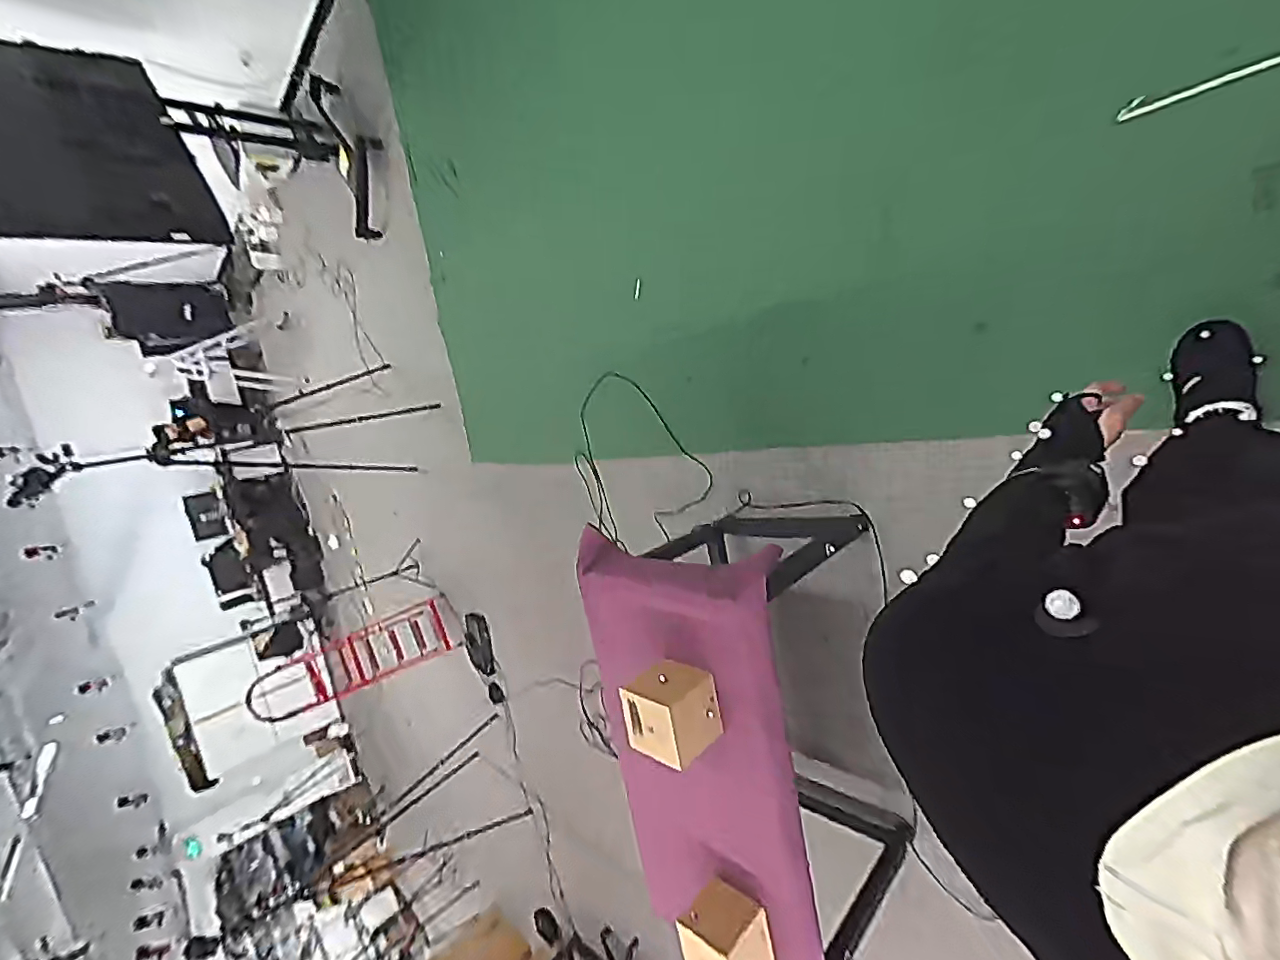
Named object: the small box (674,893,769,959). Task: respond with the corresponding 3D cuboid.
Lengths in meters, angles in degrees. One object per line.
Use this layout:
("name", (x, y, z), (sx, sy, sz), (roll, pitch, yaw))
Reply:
("small box", (0.217, 1.220, 1.386), (0.179, 0.176, 0.168), (-5, 99, 47))
